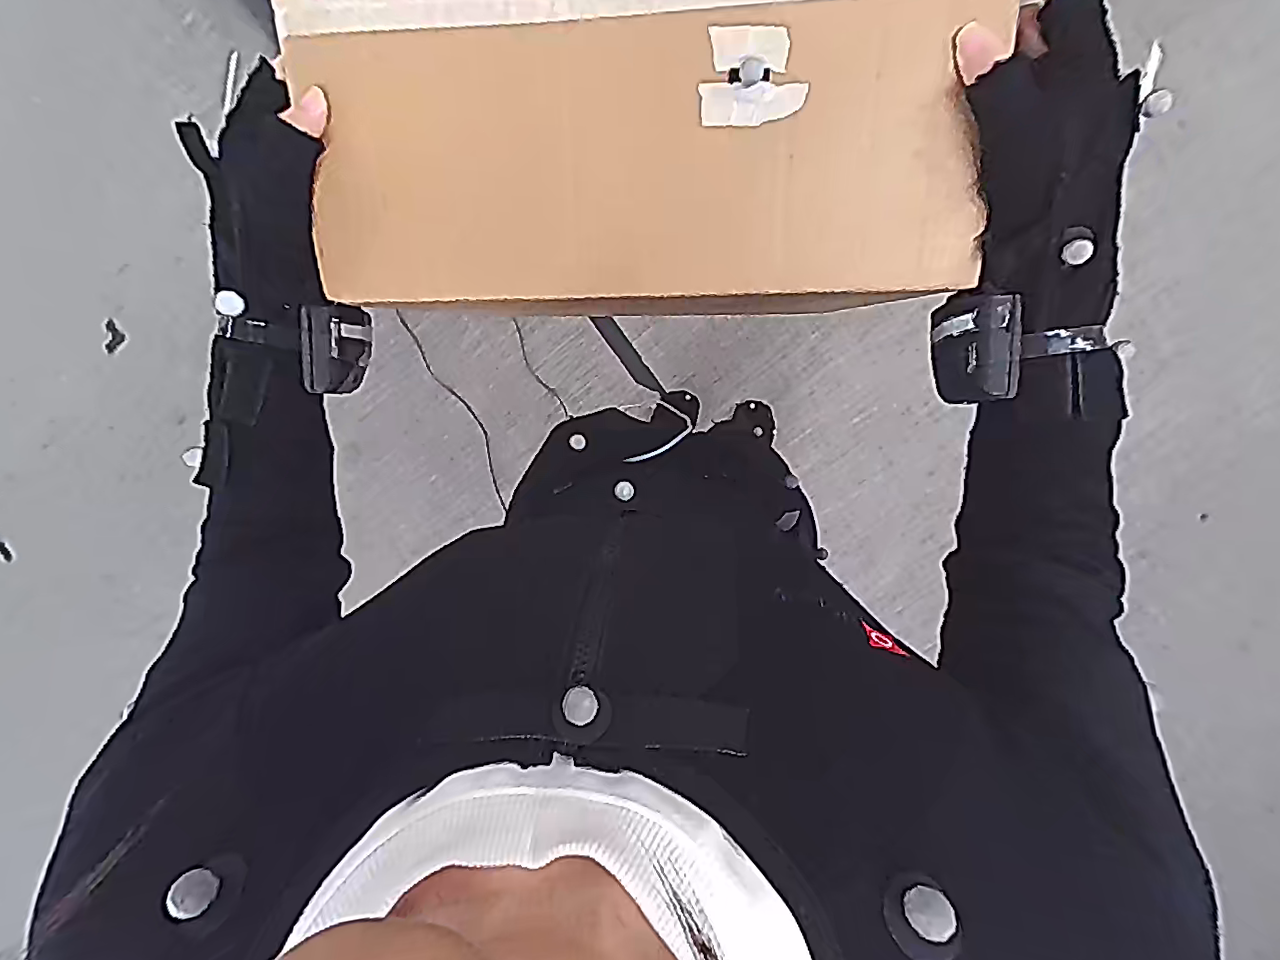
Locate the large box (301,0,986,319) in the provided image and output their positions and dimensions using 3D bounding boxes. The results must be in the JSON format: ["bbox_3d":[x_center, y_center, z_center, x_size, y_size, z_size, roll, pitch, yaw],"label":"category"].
[{"bbox_3d":[0.003,-0.311,0.455,0.408,0.320,0.320,-1,105,4],"label":"large box"}]
